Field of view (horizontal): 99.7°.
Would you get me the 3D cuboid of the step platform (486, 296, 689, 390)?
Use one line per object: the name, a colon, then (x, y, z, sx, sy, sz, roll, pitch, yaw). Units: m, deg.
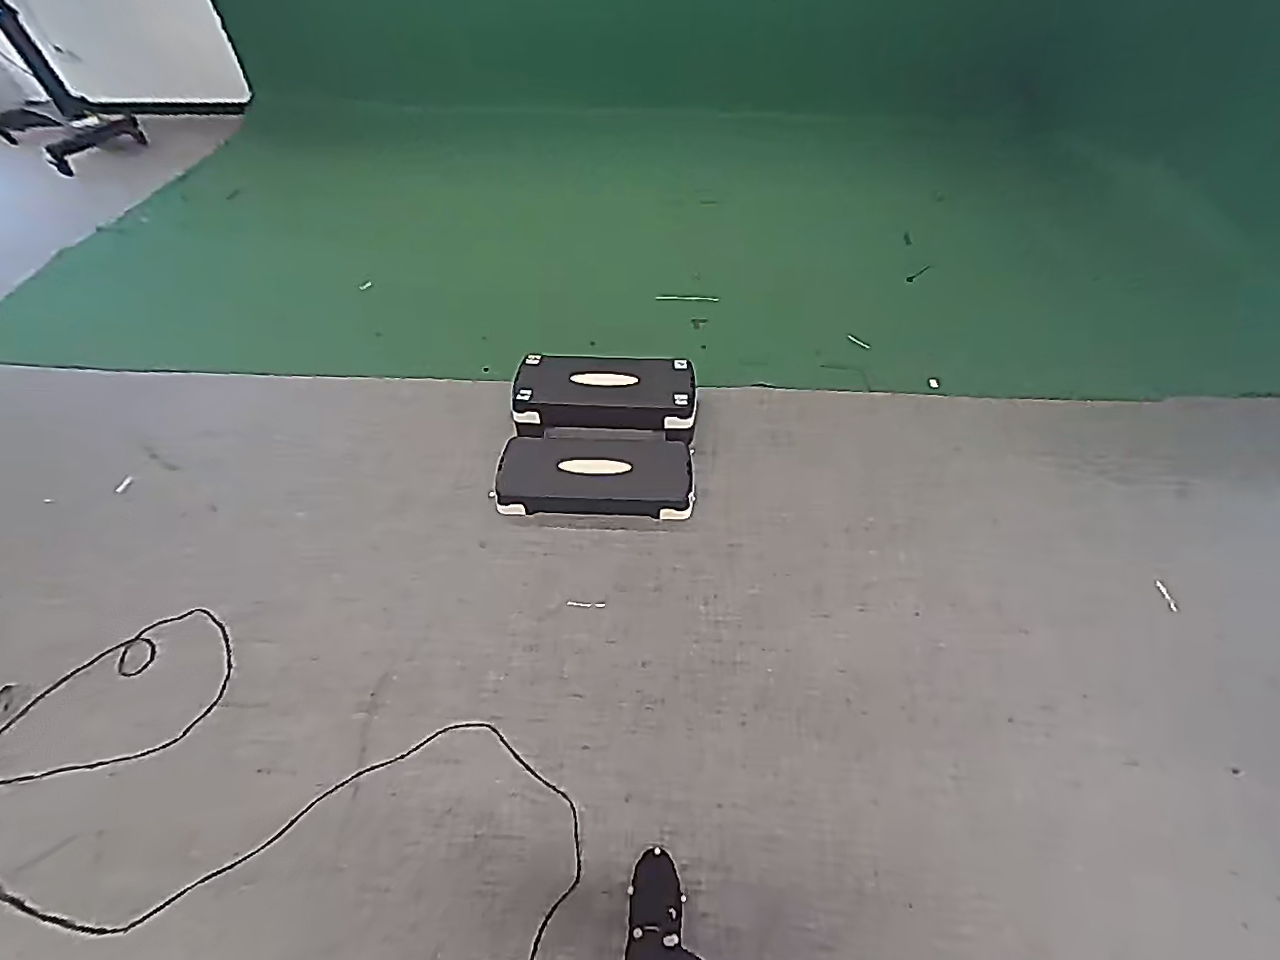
step platform: (-0.173, -0.478, 1.899, 0.684, 0.204, 0.286, 1, 52, 2)
